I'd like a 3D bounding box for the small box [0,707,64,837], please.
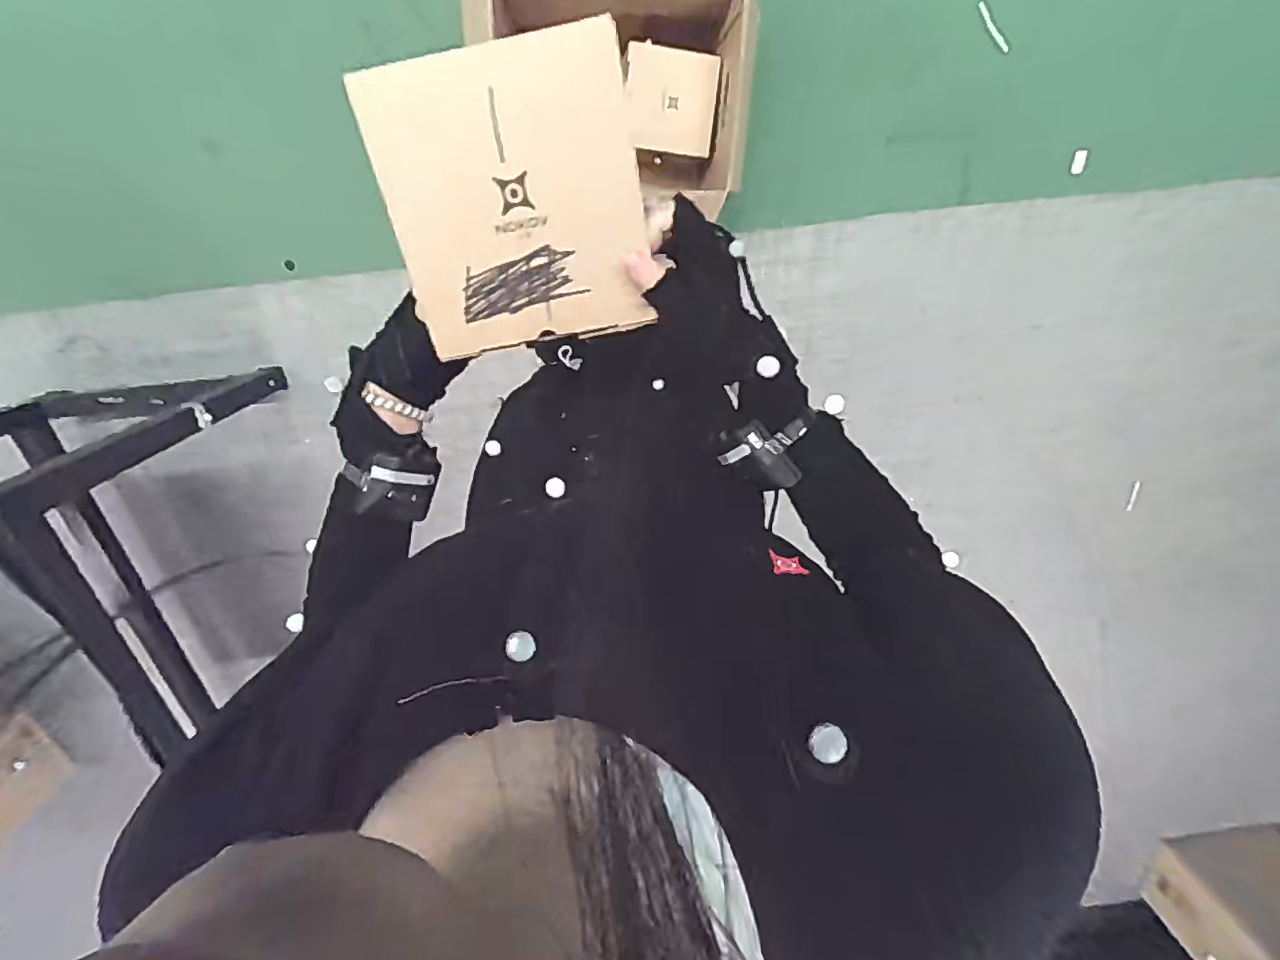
[{"bbox_3d":[-1.016,0.453,0.771,0.179,0.176,0.168,-7,116,-1],"label":"small box"}]
